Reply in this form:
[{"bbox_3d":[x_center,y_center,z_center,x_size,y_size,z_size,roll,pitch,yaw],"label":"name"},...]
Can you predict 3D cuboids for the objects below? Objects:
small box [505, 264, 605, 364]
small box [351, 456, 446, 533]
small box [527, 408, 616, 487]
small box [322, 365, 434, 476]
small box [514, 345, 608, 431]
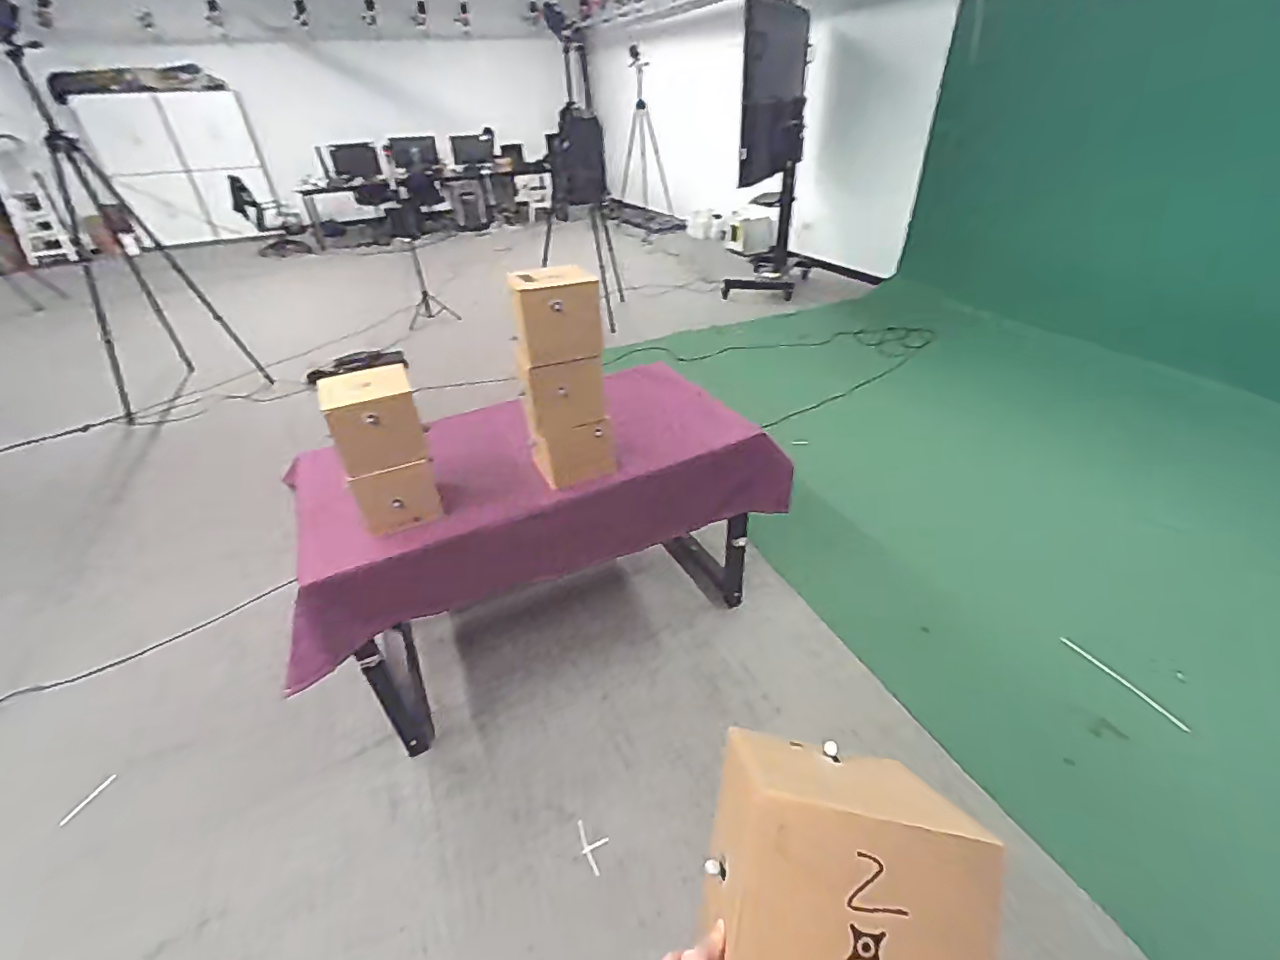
[{"bbox_3d":[-0.189,-0.372,1.212,0.179,0.176,0.168,-14,36,-17],"label":"small box"},{"bbox_3d":[-0.569,0.006,1.279,0.168,0.176,0.179,-17,37,-19],"label":"small box"},{"bbox_3d":[-0.174,-0.103,1.401,0.179,0.176,0.168,-18,37,-20],"label":"small box"},{"bbox_3d":[-0.573,-0.130,1.188,0.179,0.176,0.168,-18,39,-20],"label":"small box"},{"bbox_3d":[-0.189,-0.235,1.305,0.179,0.176,0.168,-16,37,-16],"label":"small box"}]
